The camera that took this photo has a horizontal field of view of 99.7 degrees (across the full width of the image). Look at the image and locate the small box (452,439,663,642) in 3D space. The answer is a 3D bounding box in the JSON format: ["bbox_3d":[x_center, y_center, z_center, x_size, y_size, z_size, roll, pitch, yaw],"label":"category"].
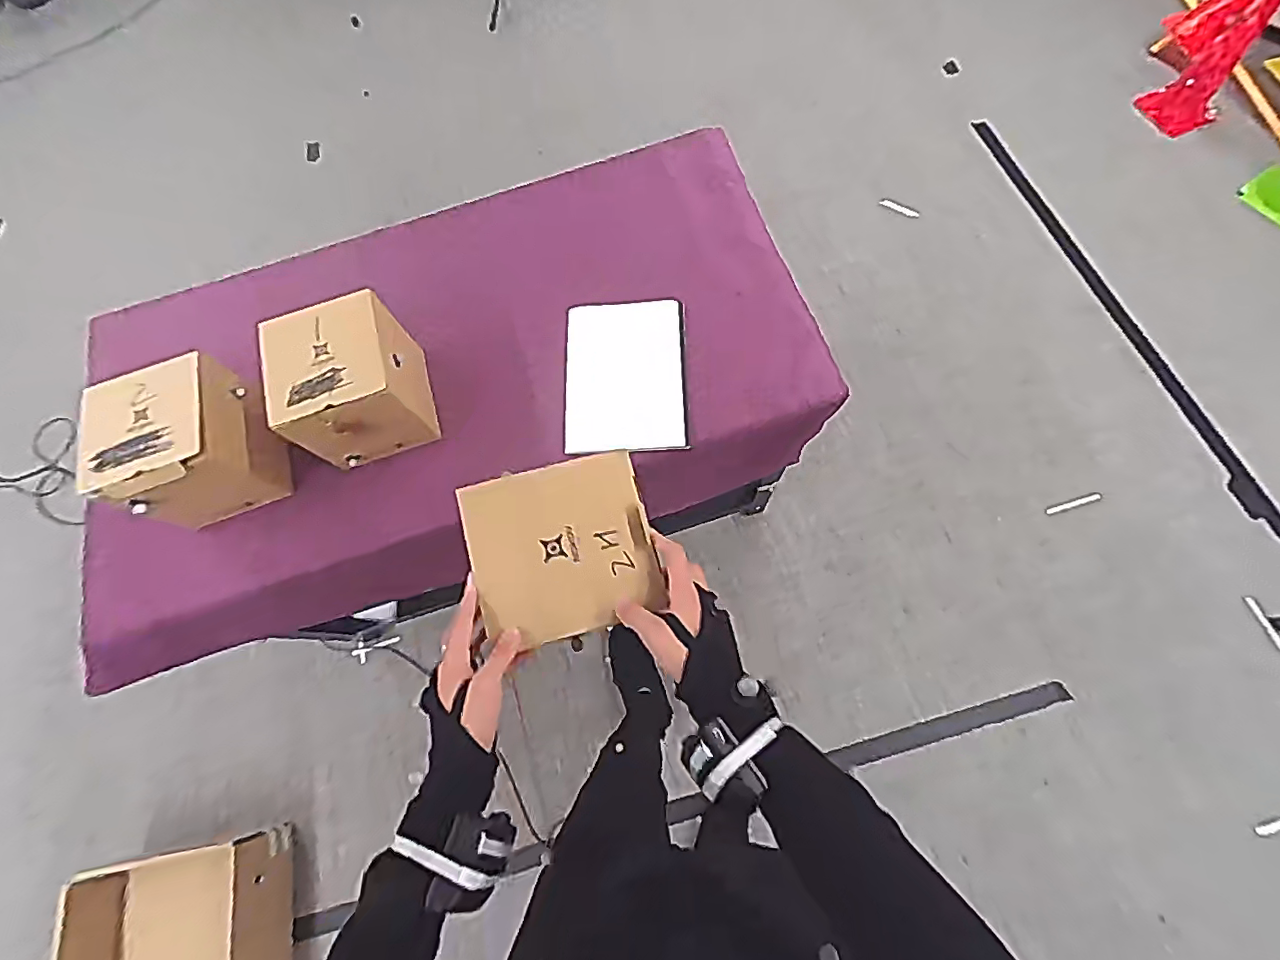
[{"bbox_3d":[-0.085,0.074,0.596,0.179,0.176,0.168,-14,77,-8],"label":"small box"}]
